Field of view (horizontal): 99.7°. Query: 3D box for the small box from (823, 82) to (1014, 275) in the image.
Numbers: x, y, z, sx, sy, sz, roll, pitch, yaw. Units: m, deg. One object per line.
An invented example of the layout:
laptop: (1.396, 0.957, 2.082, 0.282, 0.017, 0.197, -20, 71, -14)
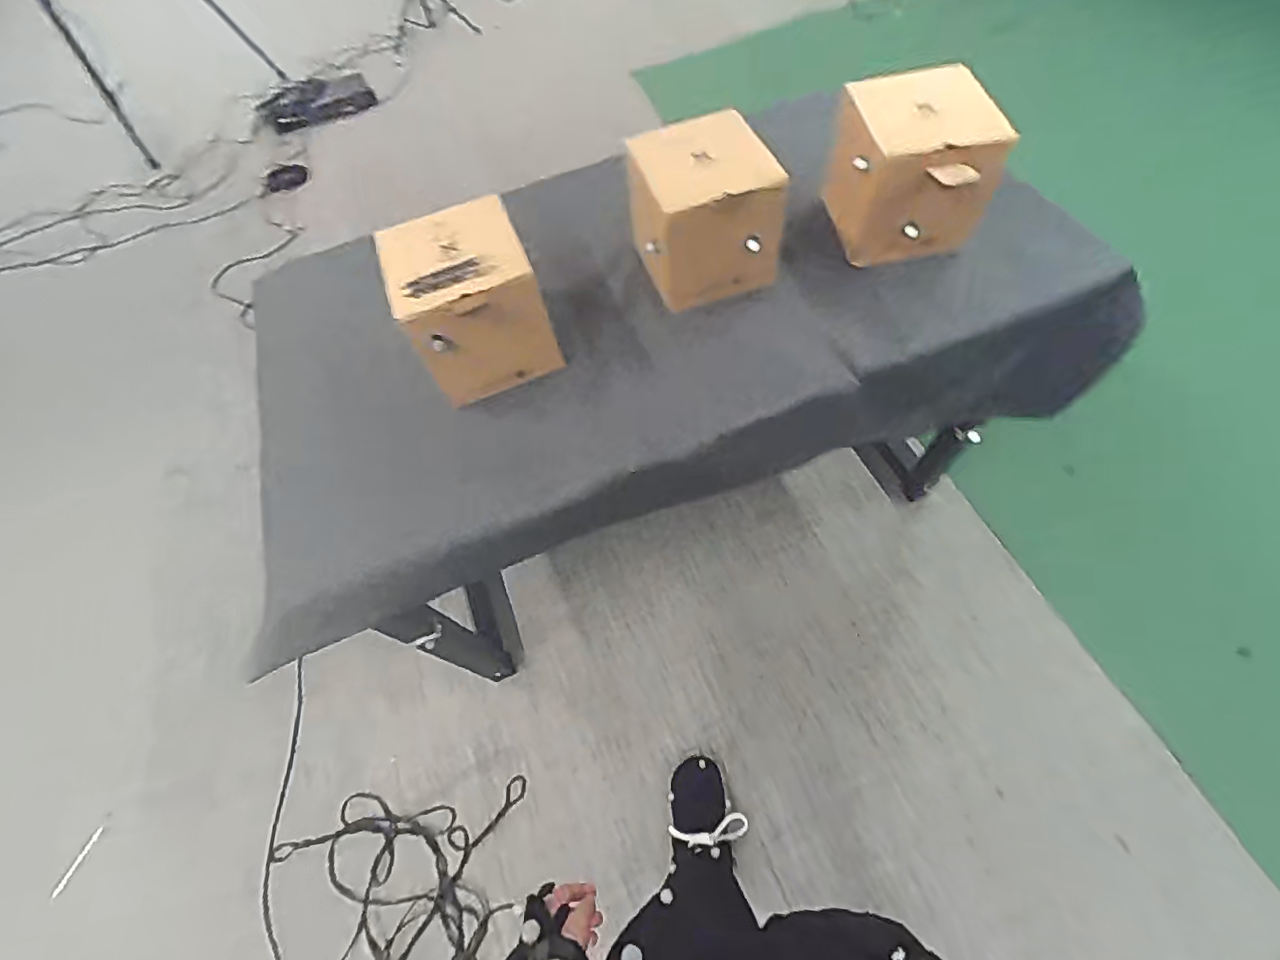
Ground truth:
small box: (0.378, -0.426, 0.776, 0.168, 0.176, 0.179, -8, 61, 1)

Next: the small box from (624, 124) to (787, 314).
small box: (0.088, -0.360, 0.770, 0.168, 0.176, 0.179, -18, 60, -6)
